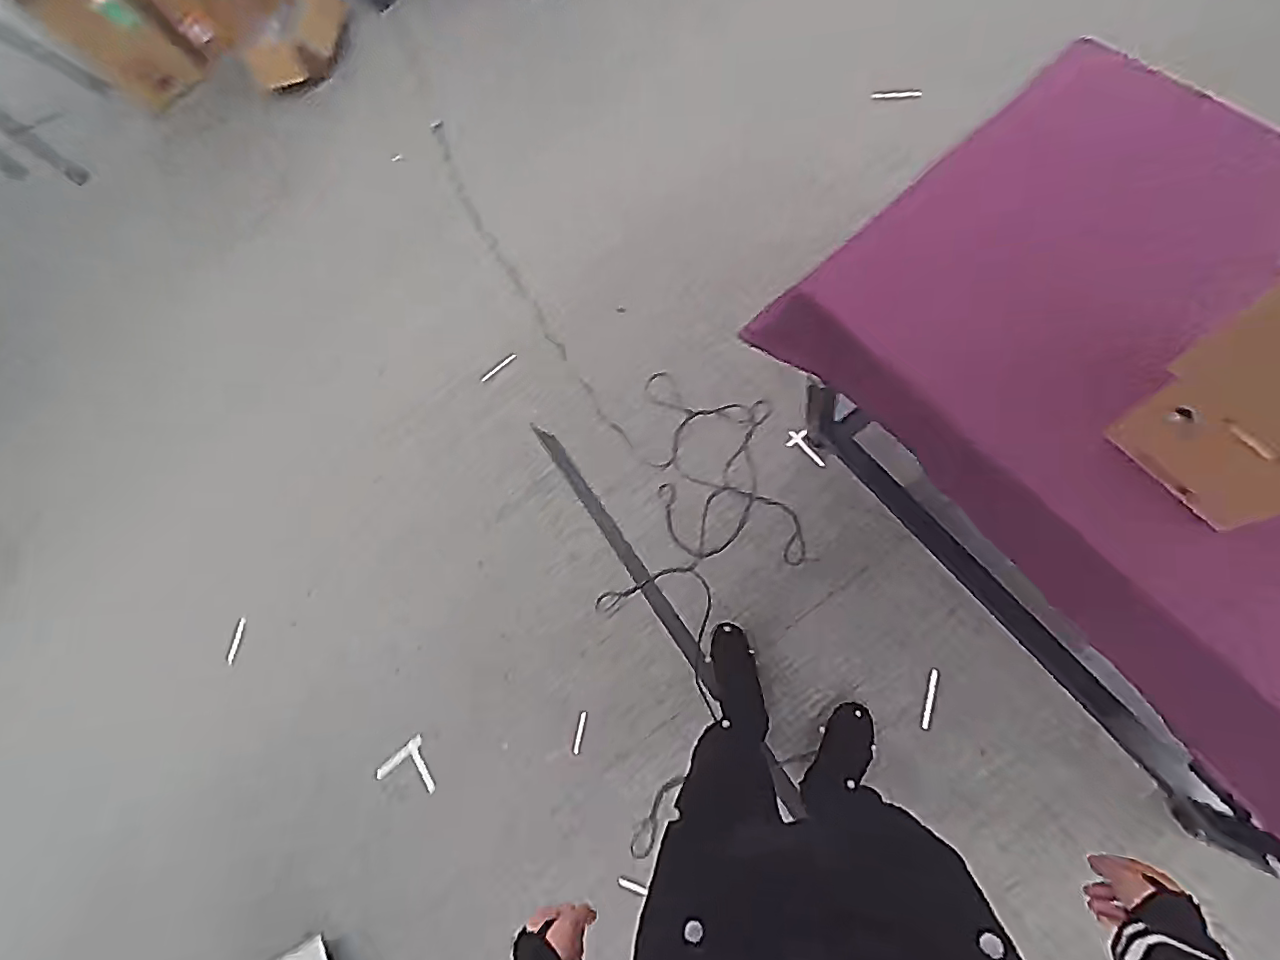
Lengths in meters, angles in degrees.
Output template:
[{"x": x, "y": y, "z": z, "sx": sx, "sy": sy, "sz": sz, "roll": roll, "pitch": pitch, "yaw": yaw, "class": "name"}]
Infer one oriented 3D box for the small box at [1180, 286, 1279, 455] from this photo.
[{"x": 0.640, "y": -0.119, "z": 0.455, "sx": 0.168, "sy": 0.176, "sz": 0.179, "roll": -36, "pitch": 68, "yaw": 3, "class": "small box"}]
